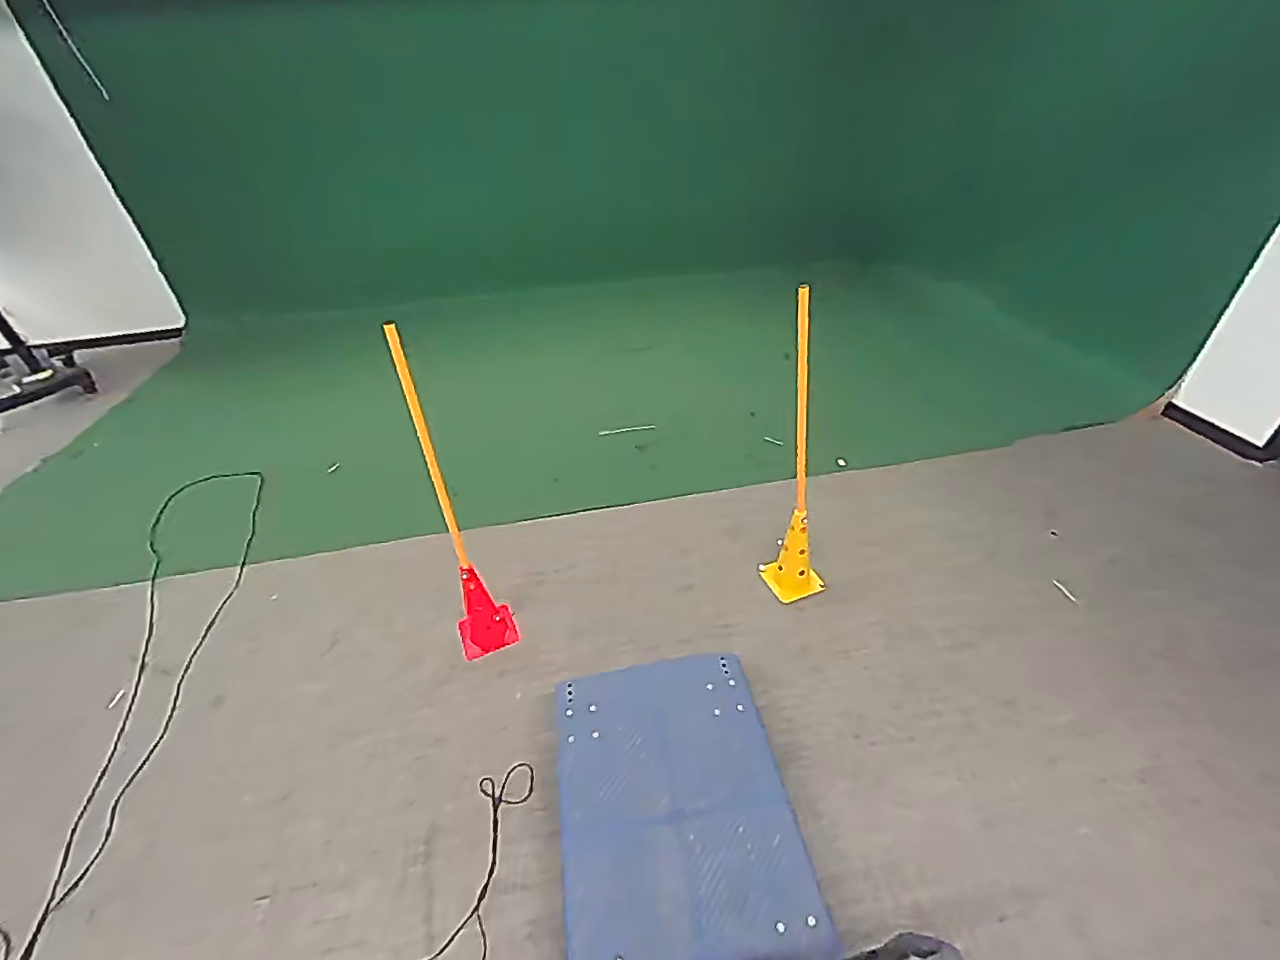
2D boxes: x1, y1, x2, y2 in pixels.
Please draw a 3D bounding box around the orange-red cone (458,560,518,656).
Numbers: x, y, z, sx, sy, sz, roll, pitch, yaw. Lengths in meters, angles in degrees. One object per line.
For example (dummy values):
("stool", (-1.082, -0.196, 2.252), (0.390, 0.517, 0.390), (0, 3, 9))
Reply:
("orange-red cone", (-0.581, 0.421, 1.916), (0.199, 0.360, 0.198), (-19, 40, -17))
